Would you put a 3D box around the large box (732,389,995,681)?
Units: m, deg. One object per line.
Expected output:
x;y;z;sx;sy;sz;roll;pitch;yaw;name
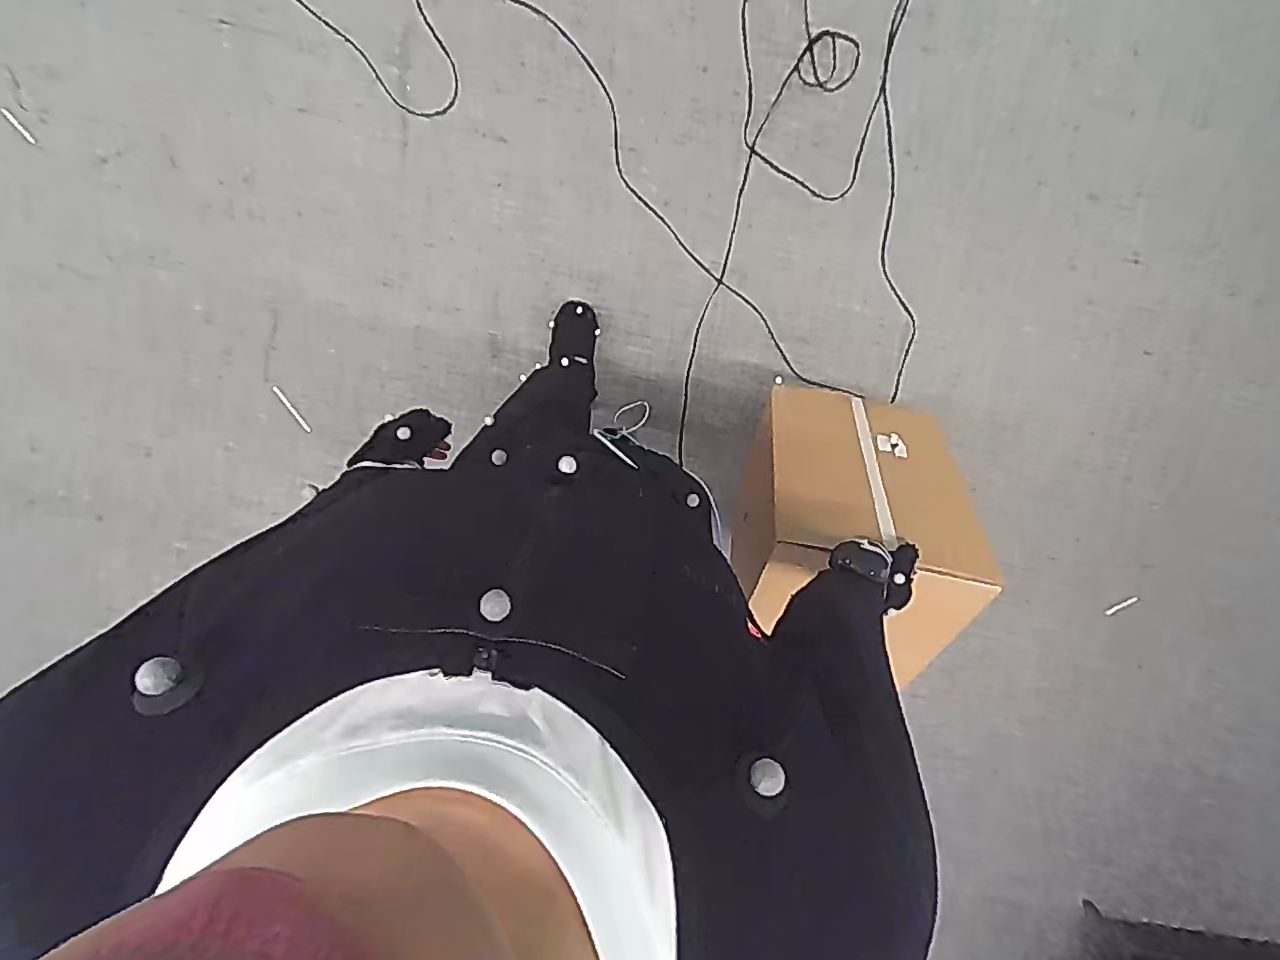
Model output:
0.354;0.092;0.988;0.320;0.408;0.320;12;133;3;large box
